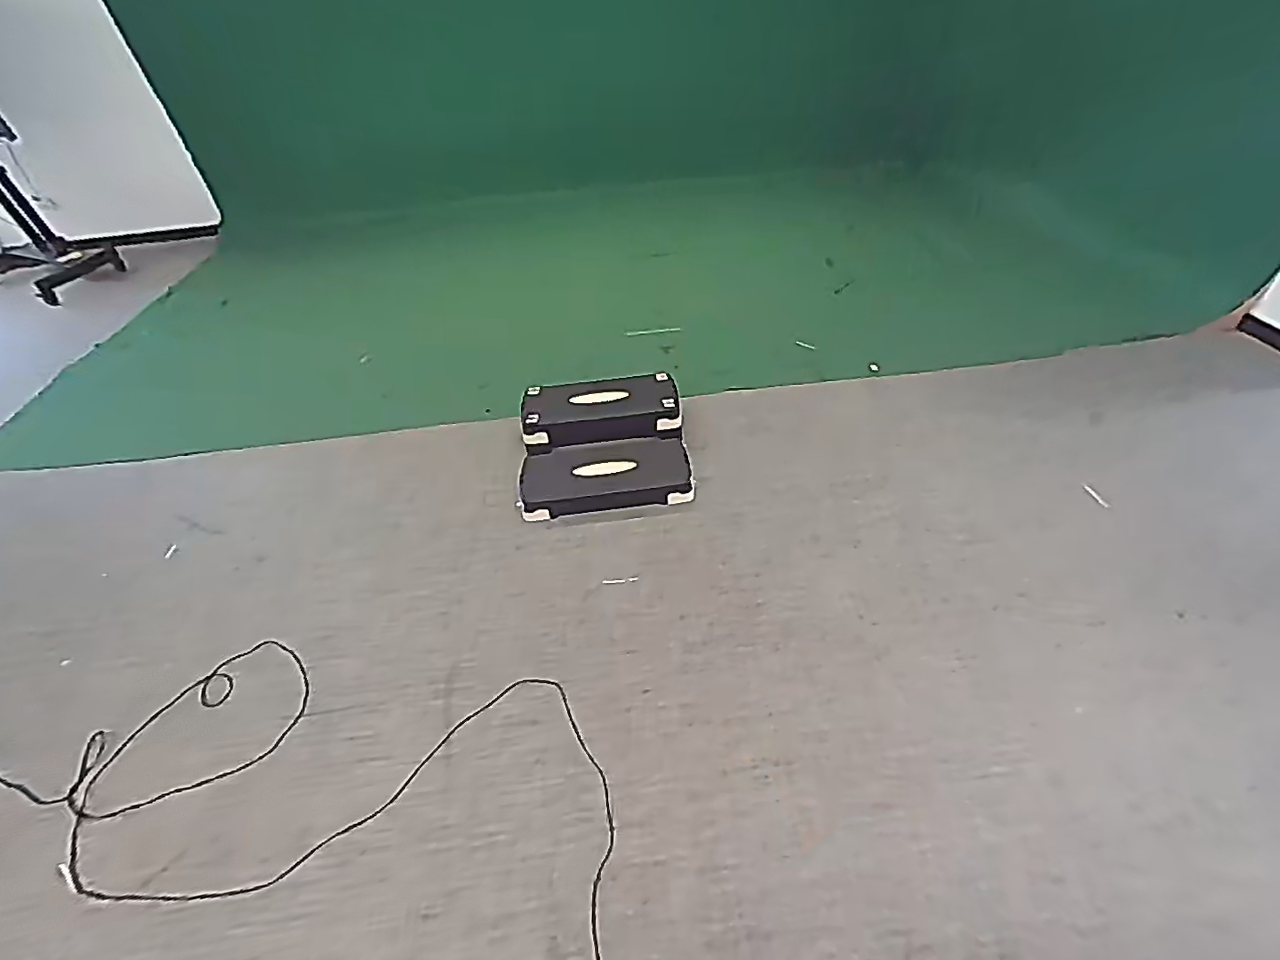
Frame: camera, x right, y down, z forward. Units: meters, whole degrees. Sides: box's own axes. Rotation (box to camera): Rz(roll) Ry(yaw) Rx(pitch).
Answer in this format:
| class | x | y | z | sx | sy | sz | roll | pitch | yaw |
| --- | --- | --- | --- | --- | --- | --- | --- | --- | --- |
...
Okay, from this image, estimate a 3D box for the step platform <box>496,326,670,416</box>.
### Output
| class | x | y | z | sx | sy | sz | roll | pitch | yaw |
| --- | --- | --- | --- | --- | --- | --- | --- | --- | --- |
| step platform | -0.223 | -0.446 | 2.211 | 0.684 | 0.204 | 0.286 | -7 | 45 | -2 |
